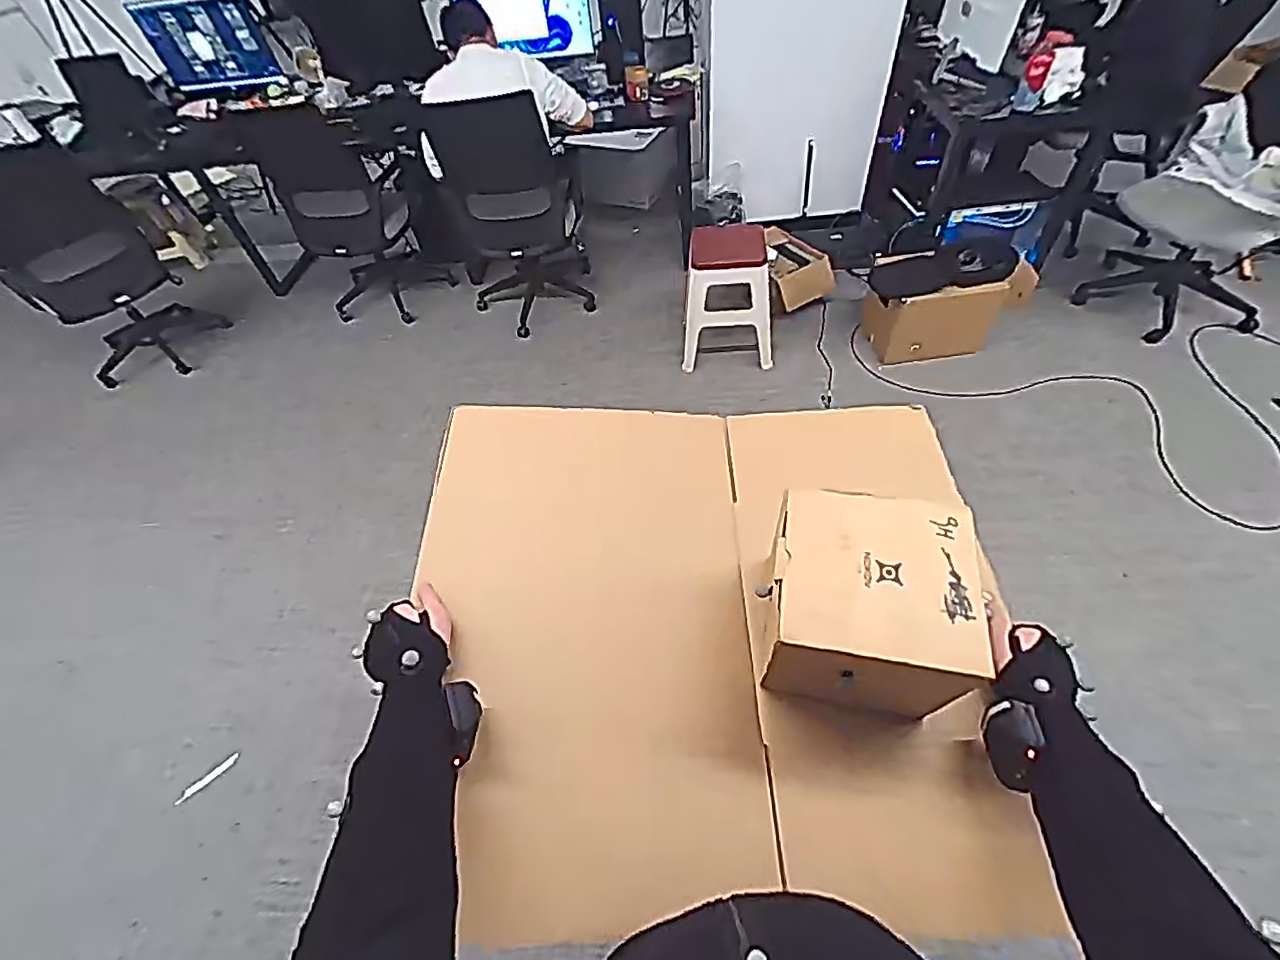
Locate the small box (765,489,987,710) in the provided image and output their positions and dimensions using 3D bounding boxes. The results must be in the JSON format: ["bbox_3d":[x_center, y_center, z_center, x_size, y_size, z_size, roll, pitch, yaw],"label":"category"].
[{"bbox_3d":[0.229,0.130,0.571,0.179,0.176,0.168,7,58,12],"label":"small box"}]
